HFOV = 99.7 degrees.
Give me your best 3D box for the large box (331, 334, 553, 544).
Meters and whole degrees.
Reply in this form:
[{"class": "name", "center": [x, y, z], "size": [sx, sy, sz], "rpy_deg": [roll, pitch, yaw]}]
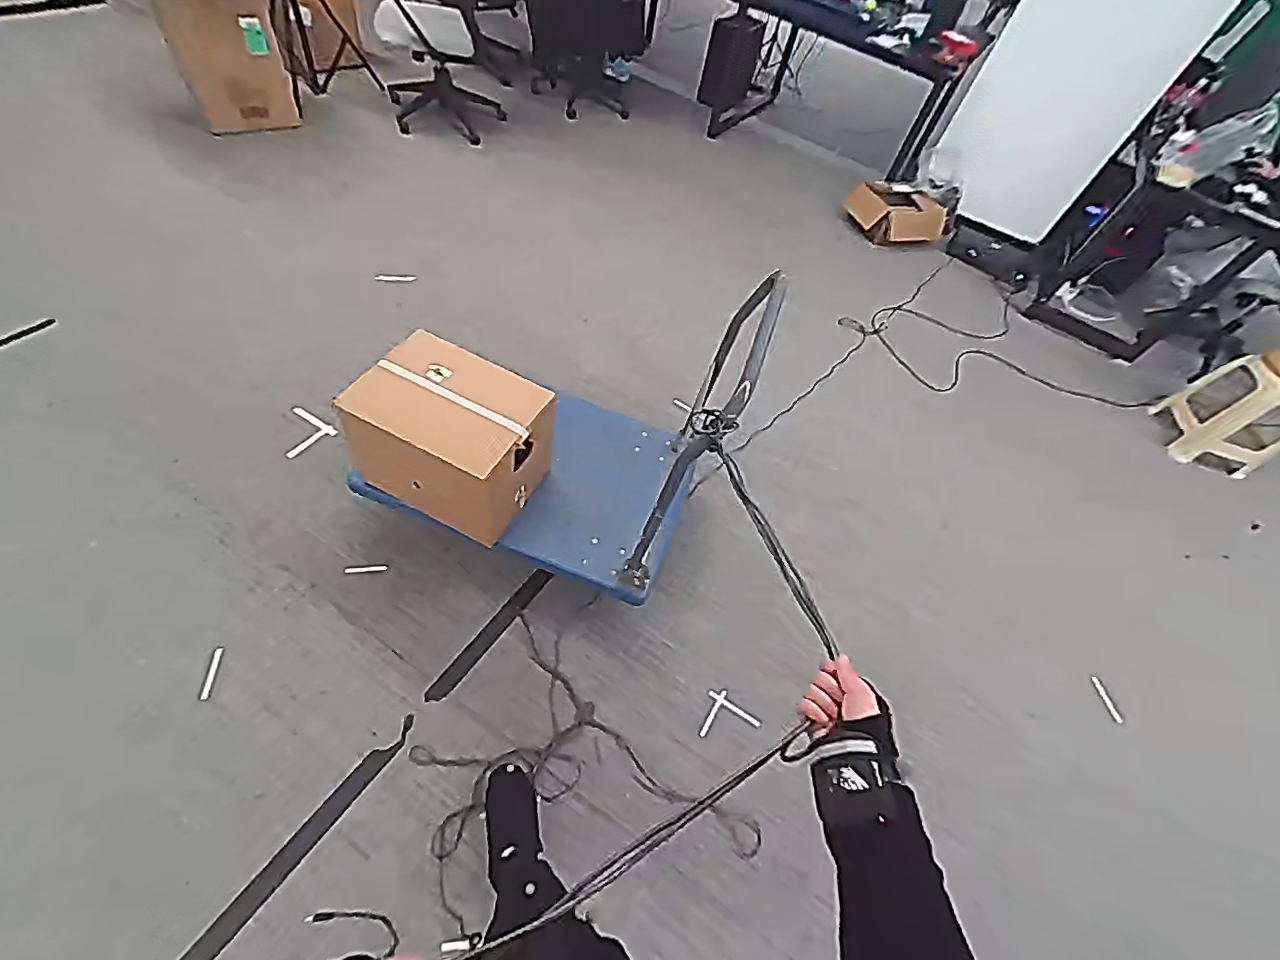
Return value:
[{"class": "large box", "center": [-0.472, -0.100, 1.385], "size": [0.408, 0.320, 0.320], "rpy_deg": [25, 53, 7]}]
